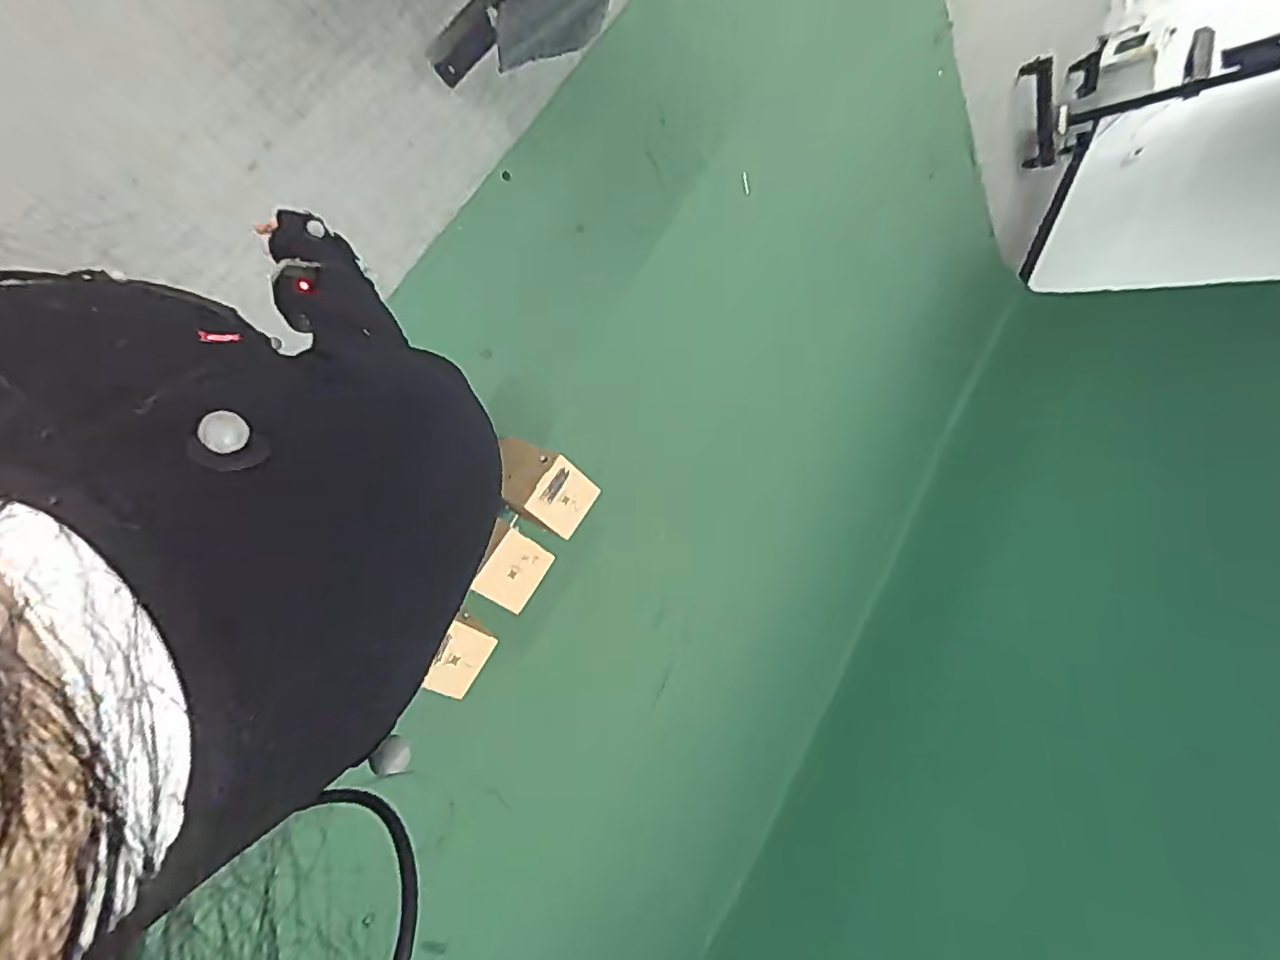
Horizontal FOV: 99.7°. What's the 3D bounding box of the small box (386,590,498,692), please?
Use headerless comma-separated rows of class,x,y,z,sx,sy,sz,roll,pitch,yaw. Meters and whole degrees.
small box,-0.499,0.395,1.351,0.179,0.176,0.168,41,75,-38

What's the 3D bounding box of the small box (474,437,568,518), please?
small box,-0.354,-0.014,1.588,0.168,0.176,0.179,-55,128,-16
